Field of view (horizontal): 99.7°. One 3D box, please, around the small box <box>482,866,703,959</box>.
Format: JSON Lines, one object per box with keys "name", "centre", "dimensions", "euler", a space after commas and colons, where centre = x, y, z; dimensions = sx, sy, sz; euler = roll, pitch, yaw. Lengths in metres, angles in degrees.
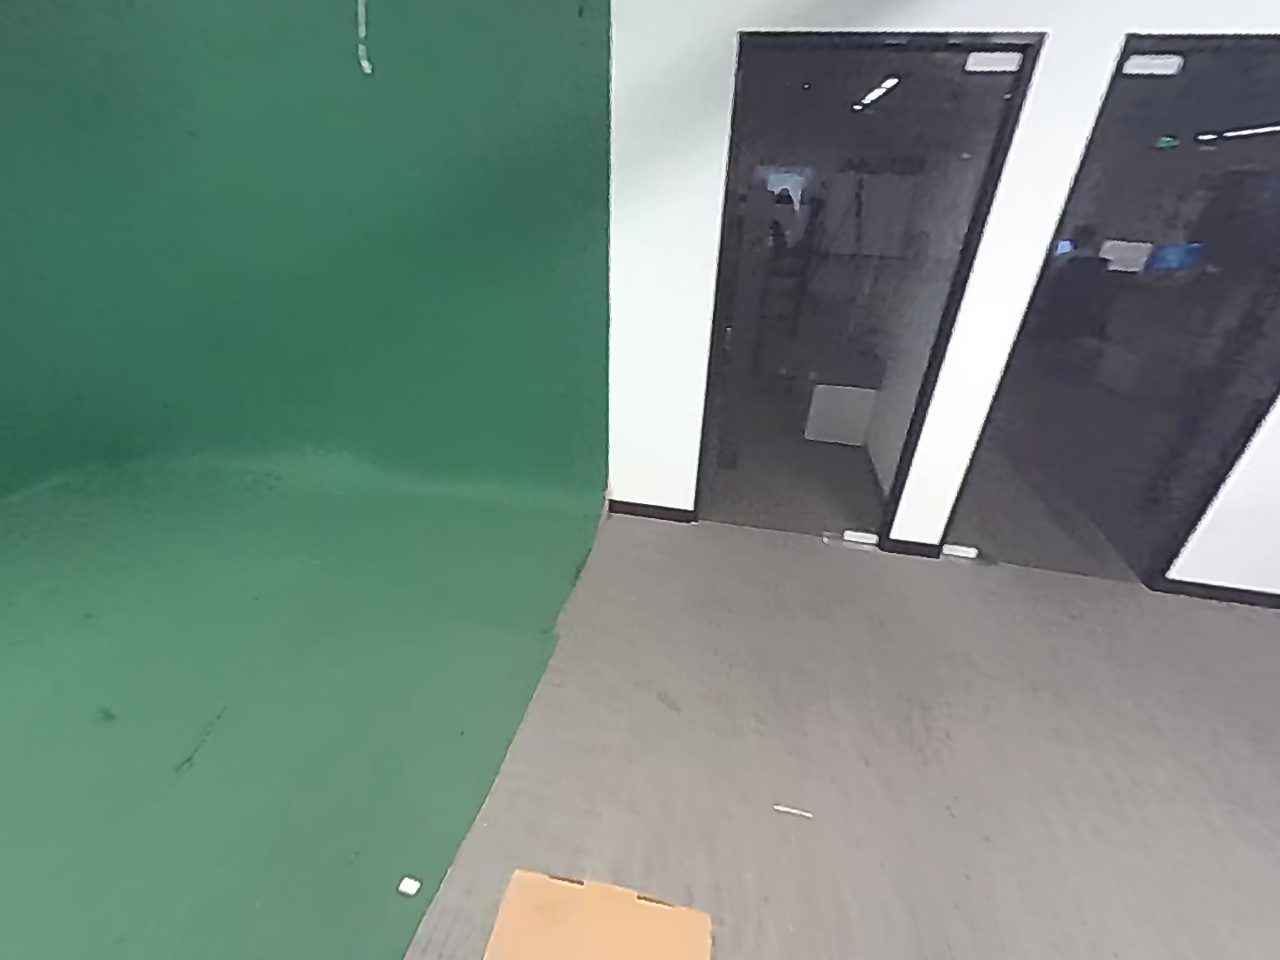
{"name": "small box", "centre": [-0.052, 0.447, 0.411], "dimensions": [0.168, 0.176, 0.179], "euler": [10, 30, 4]}
